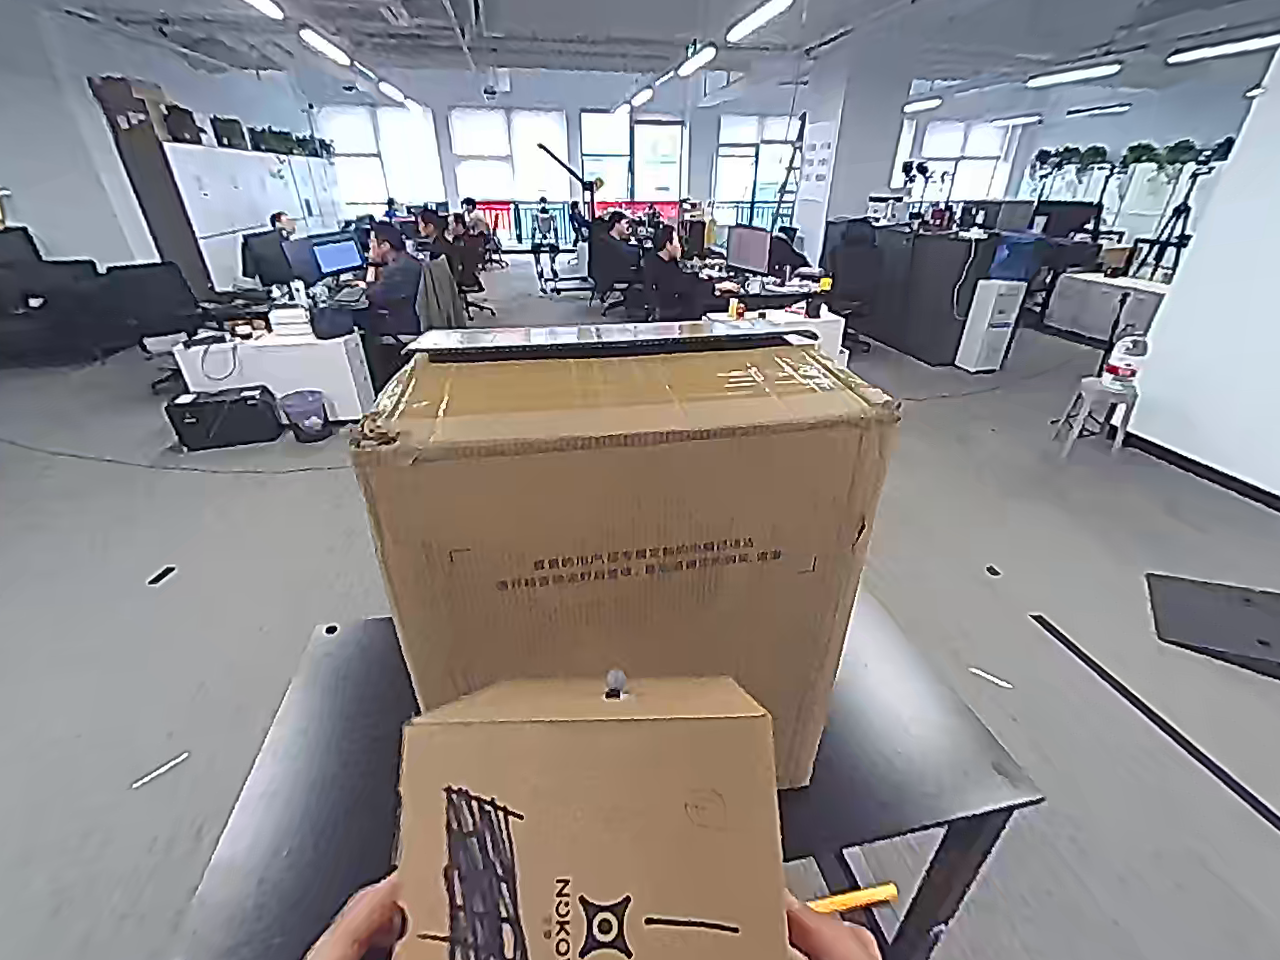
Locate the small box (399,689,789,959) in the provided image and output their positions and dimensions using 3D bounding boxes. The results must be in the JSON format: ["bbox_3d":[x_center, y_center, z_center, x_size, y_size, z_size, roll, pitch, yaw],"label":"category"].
[{"bbox_3d":[-0.017,0.219,0.316,0.179,0.176,0.168,-3,74,3],"label":"small box"}]
